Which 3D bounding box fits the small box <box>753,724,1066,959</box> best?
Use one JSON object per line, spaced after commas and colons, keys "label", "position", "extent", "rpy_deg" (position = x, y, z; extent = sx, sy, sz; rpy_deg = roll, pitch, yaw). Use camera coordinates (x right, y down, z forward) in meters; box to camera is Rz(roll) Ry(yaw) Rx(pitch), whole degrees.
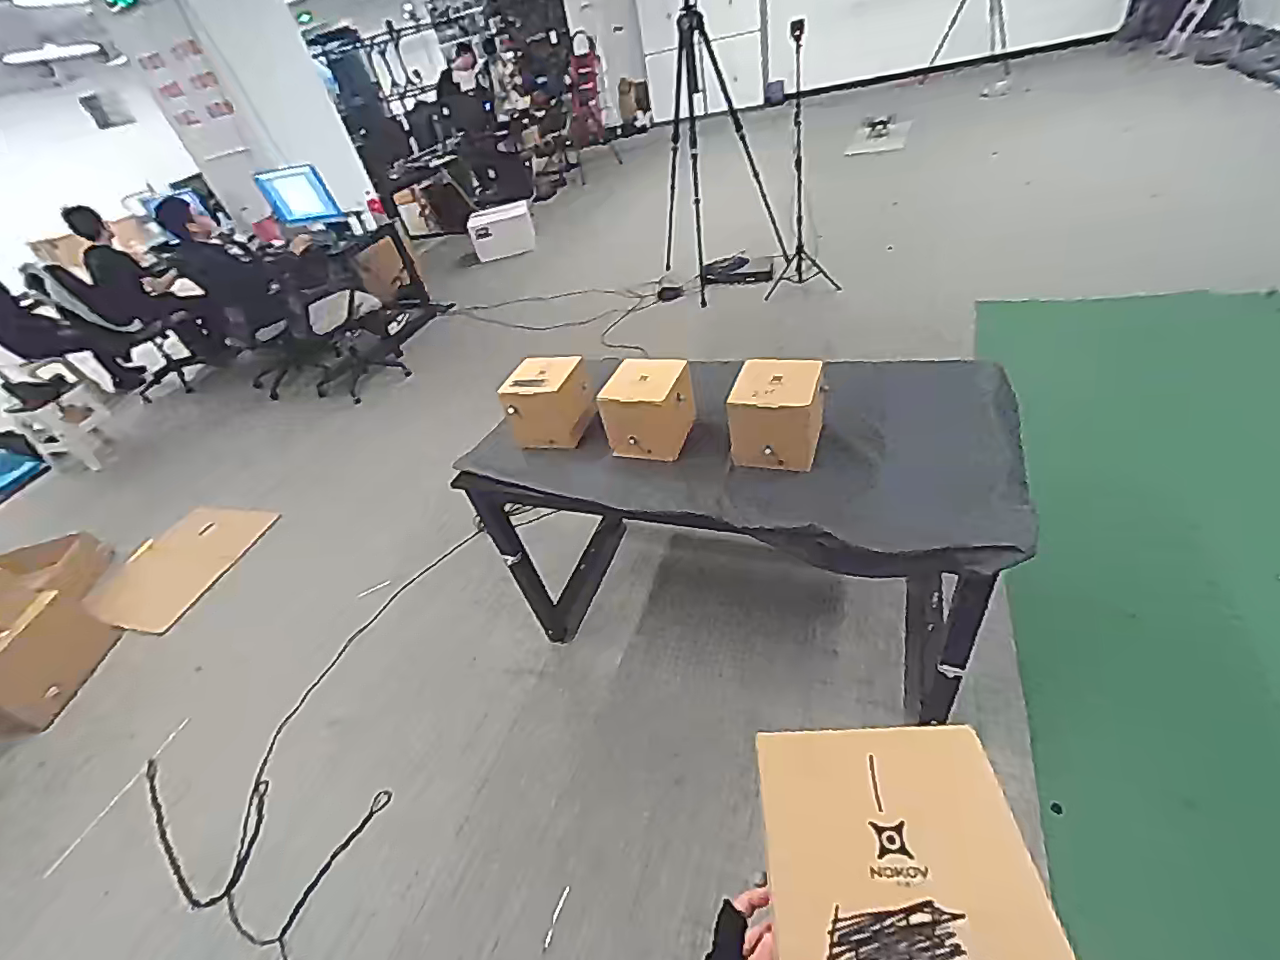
{"label": "small box", "position": [0.181, 0.312, 0.405], "extent": [0.168, 0.176, 0.179], "rpy_deg": [-7, 35, 10]}

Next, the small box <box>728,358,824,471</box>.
{"label": "small box", "position": [0.297, -0.144, 1.168], "extent": [0.168, 0.176, 0.179], "rpy_deg": [7, 45, 24]}

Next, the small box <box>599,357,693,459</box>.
{"label": "small box", "position": [0.023, -0.173, 1.284], "extent": [0.168, 0.176, 0.179], "rpy_deg": [7, 45, 23]}
